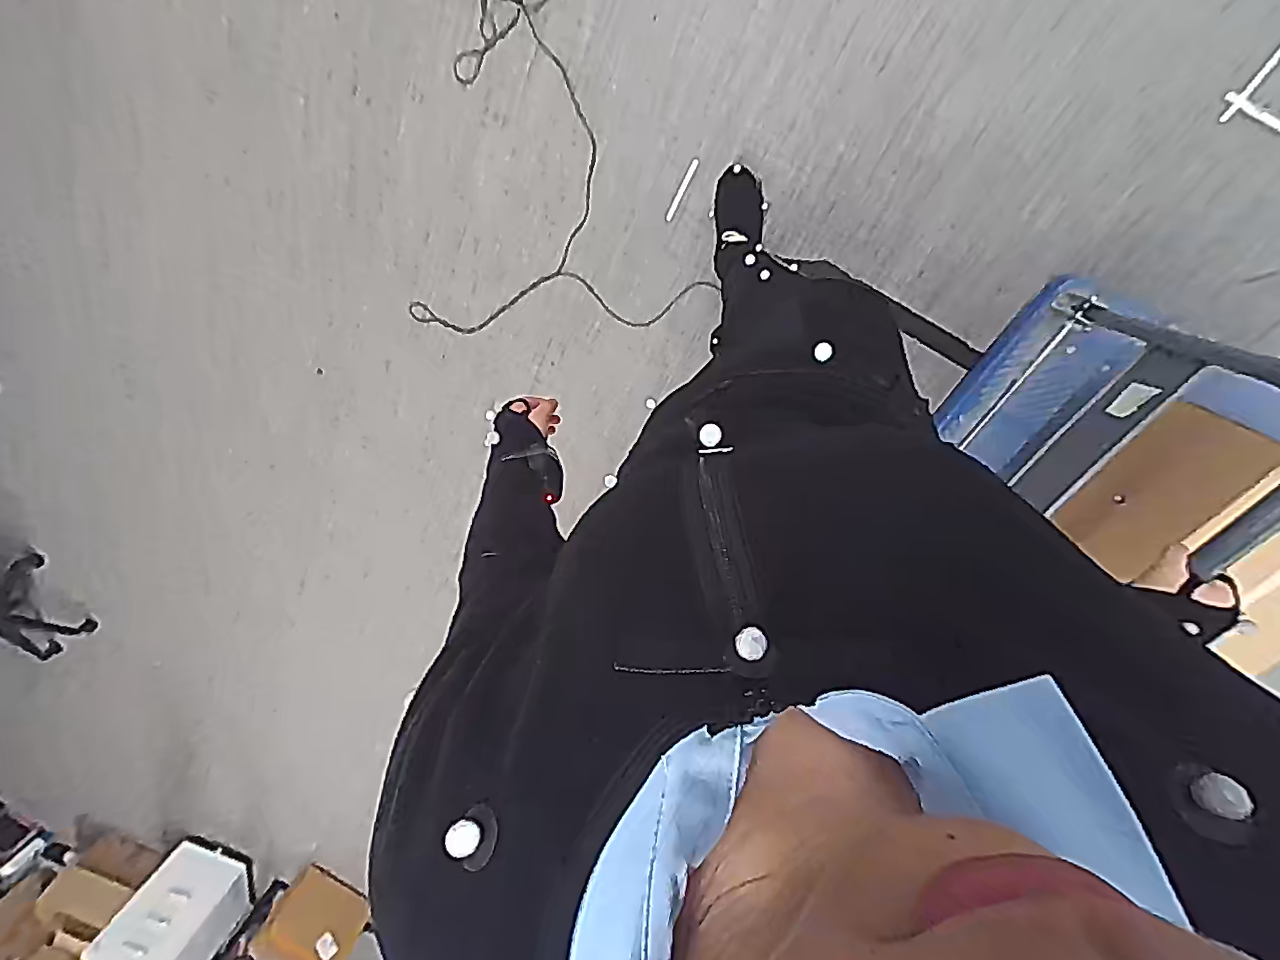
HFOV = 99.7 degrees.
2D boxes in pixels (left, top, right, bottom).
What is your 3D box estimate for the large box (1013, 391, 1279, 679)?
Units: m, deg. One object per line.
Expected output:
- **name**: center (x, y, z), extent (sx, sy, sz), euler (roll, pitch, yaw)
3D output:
- **large box**: center (1.068, 0.098, 1.073), extent (0.320, 0.320, 0.408), euler (28, 117, -3)
